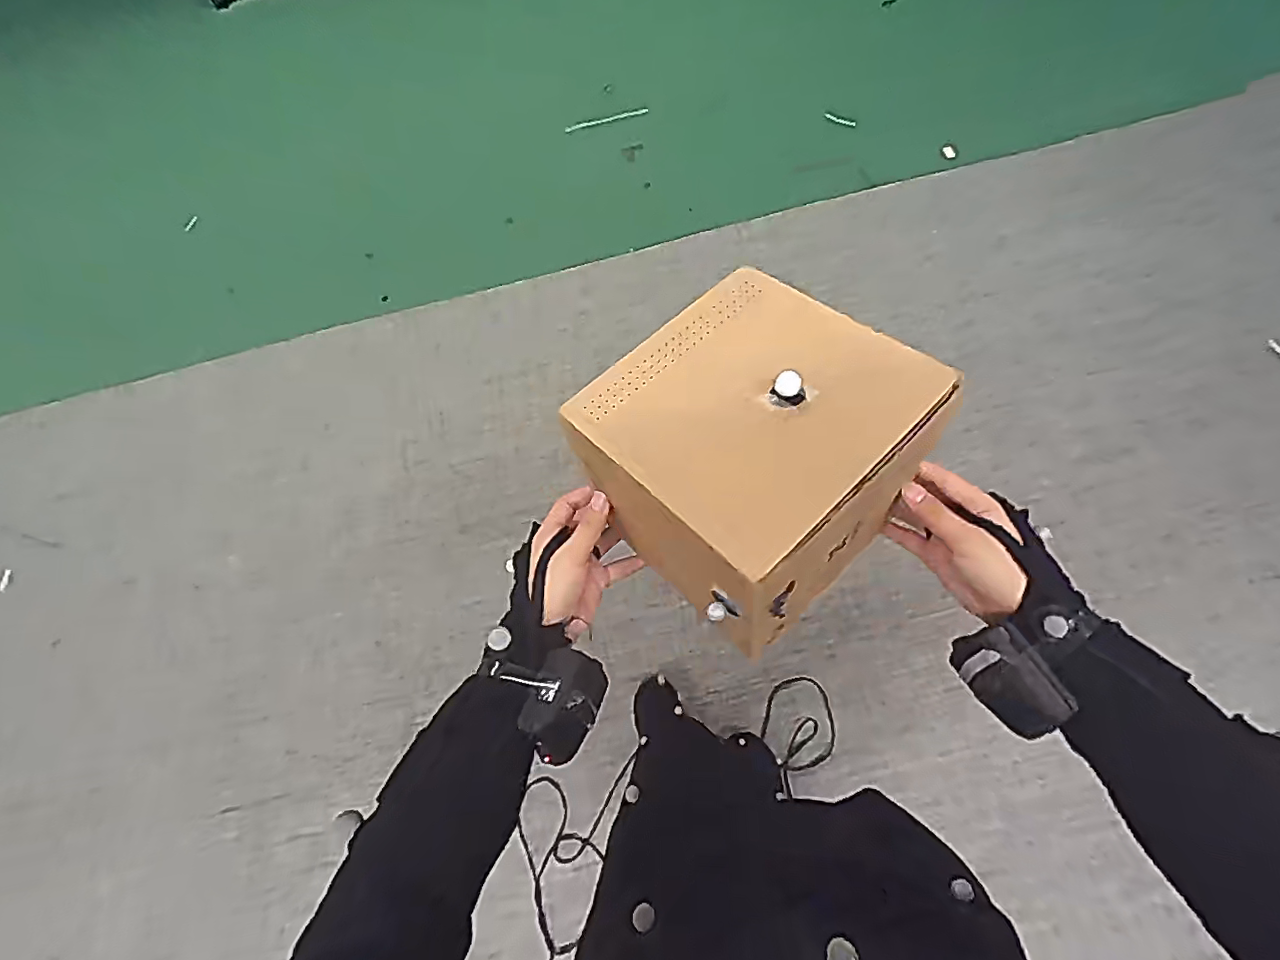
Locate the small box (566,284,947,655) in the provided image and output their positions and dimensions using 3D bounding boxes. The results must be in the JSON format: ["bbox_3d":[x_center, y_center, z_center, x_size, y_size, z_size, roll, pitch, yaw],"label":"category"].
[{"bbox_3d":[0.076,-0.010,0.398,0.179,0.168,0.176,-42,60,-16],"label":"small box"}]
